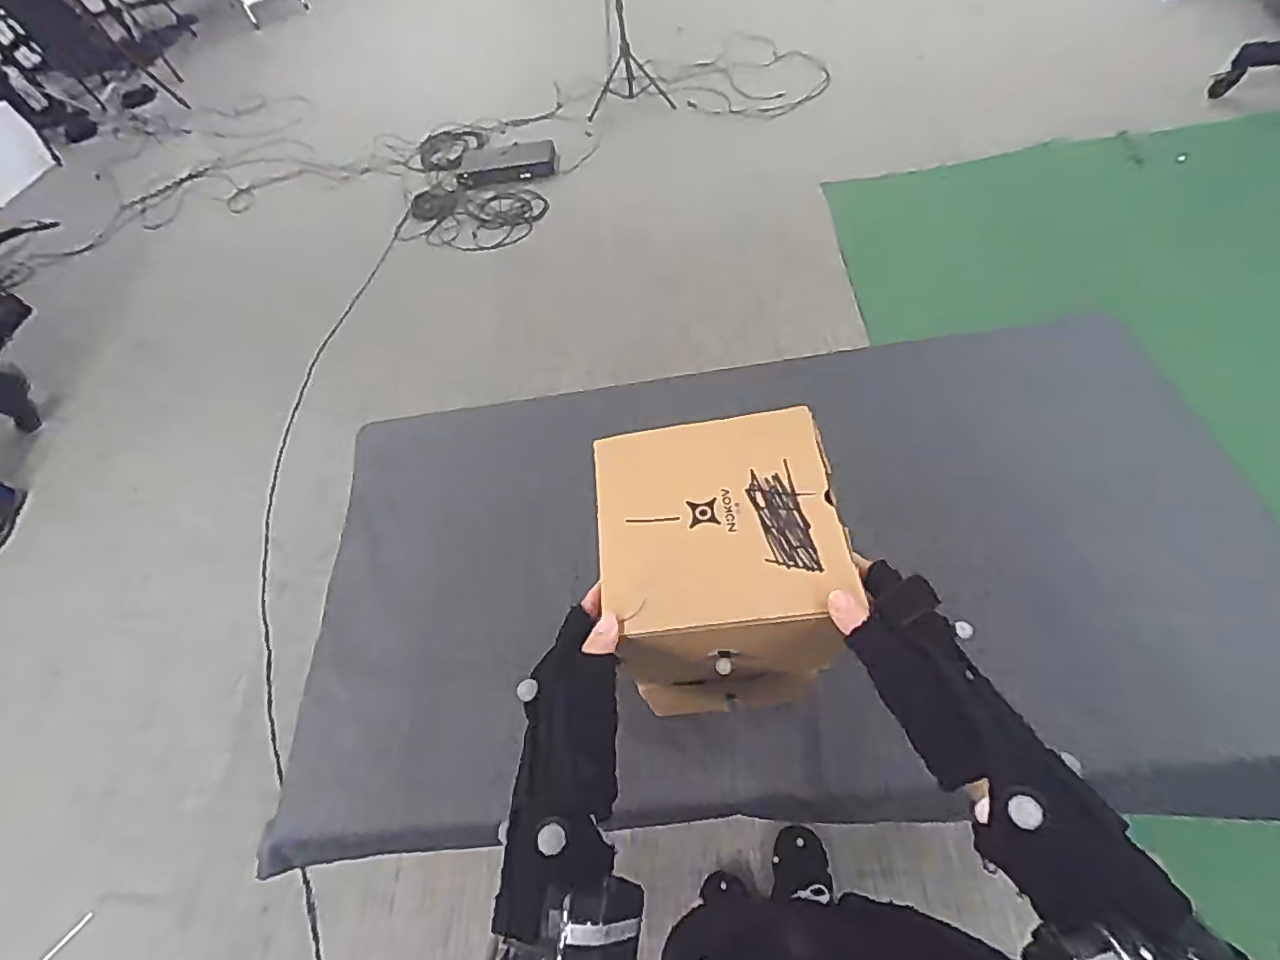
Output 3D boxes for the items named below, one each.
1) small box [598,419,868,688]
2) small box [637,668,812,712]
[{"bbox_3d":[0.068,0.072,0.462,0.179,0.176,0.168,-9,58,6],"label":"small box"},{"bbox_3d":[0.082,0.155,0.605,0.168,0.176,0.179,-9,59,3],"label":"small box"}]
